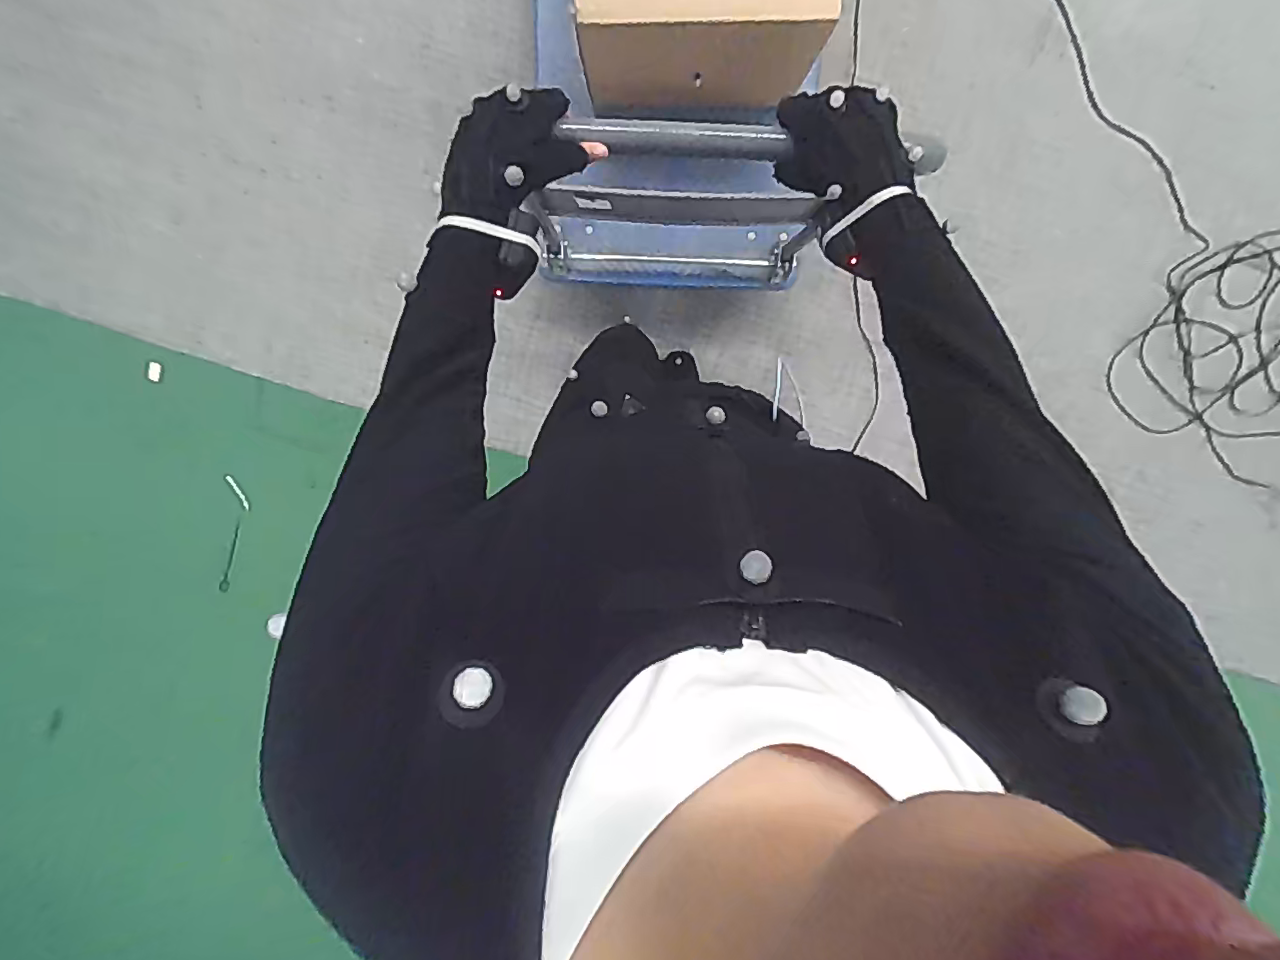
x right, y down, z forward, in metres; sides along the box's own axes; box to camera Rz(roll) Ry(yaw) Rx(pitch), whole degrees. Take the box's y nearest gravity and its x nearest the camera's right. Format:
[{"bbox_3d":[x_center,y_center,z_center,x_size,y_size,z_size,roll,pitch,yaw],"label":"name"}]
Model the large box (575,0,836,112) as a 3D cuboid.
[{"bbox_3d":[0.099,-0.877,0.937,0.408,0.320,0.320,-1,103,1],"label":"large box"}]
